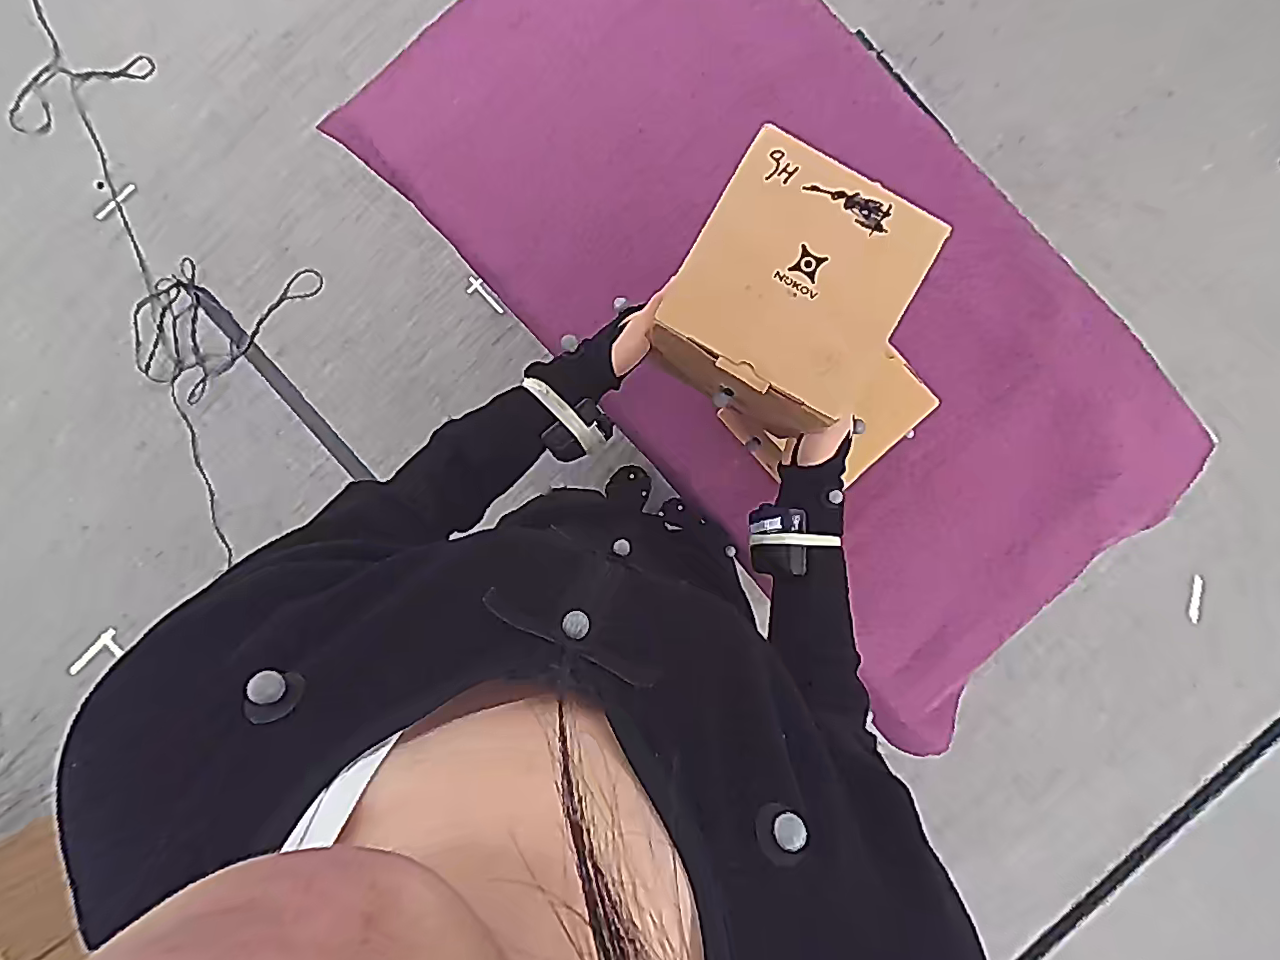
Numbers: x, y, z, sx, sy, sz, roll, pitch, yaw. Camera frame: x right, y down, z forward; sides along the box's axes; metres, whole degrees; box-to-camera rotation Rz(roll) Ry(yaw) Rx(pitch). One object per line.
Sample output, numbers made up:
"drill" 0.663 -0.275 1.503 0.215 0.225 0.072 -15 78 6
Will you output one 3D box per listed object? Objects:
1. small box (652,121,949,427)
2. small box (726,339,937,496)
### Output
"small box" 0.125 -0.160 0.491 0.168 0.176 0.179 30 92 0
"small box" 0.228 -0.095 0.703 0.179 0.176 0.168 -42 89 0
